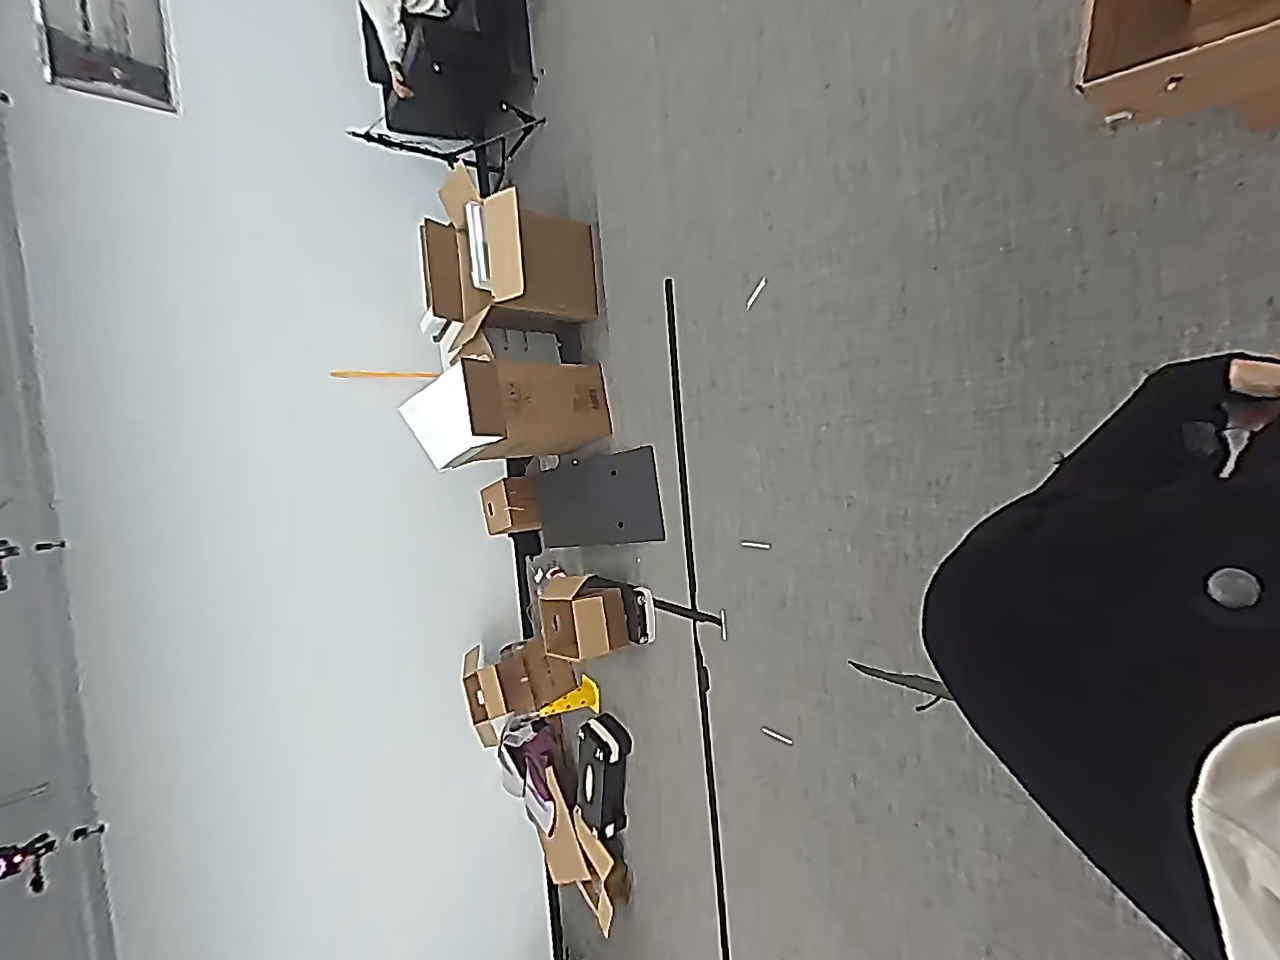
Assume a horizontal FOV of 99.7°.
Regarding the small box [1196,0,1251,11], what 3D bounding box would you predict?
[{"bbox_3d":[0.859,-0.776,0.715,0.168,0.176,0.179,11,103,51],"label":"small box"}]
